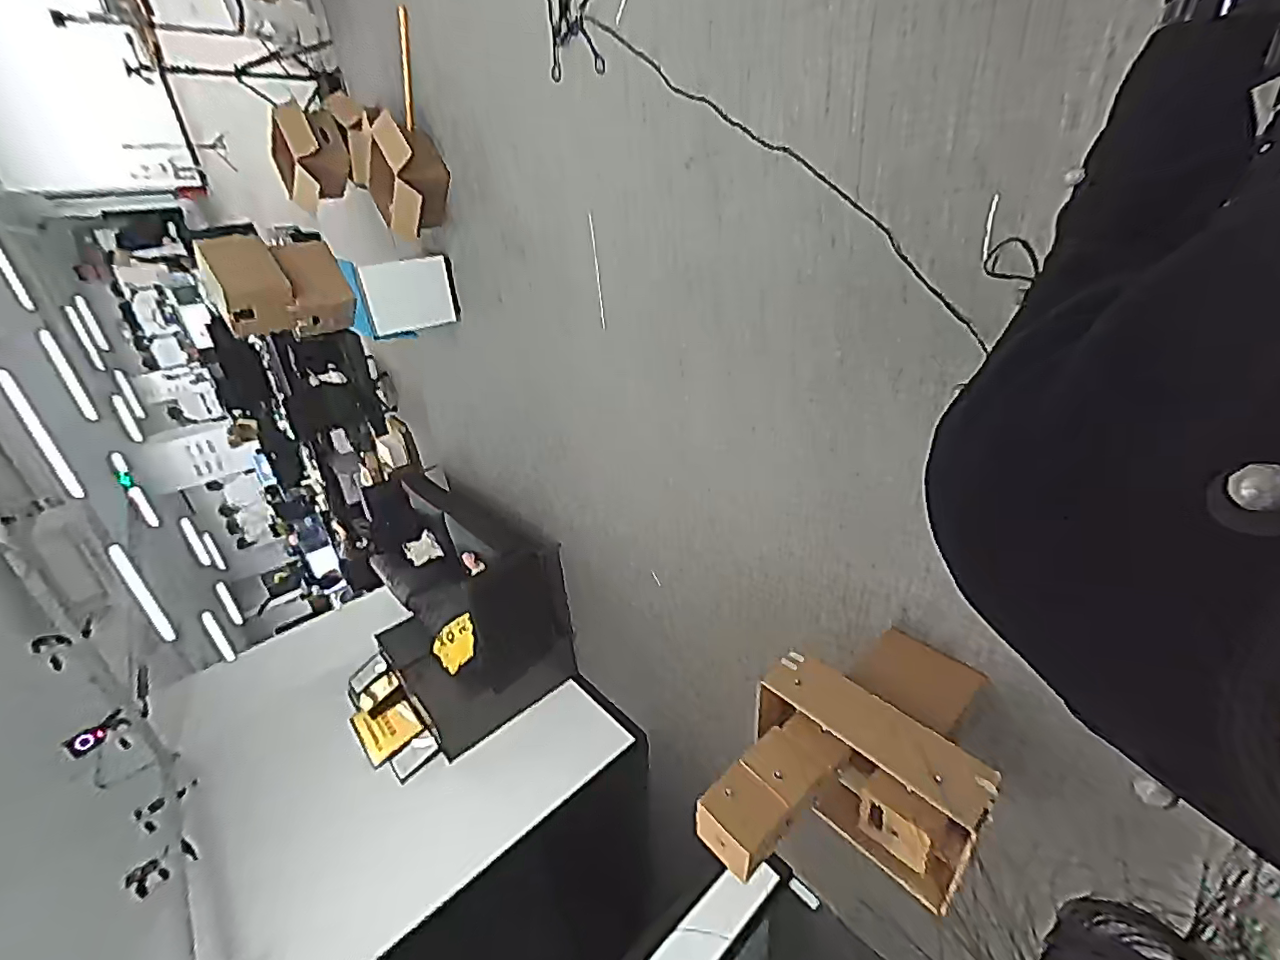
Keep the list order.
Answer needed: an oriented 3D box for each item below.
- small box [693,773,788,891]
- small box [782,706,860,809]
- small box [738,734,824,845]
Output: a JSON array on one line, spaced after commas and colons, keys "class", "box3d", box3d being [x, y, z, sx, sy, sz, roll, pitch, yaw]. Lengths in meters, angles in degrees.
[{"class": "small box", "box3d": [0.264, 0.918, 1.435, 0.179, 0.176, 0.168, 29, 132, 42]}, {"class": "small box", "box3d": [0.525, 0.811, 1.601, 0.168, 0.176, 0.179, 32, 133, 41]}, {"class": "small box", "box3d": [0.391, 0.859, 1.518, 0.179, 0.176, 0.168, 30, 132, 42]}]
